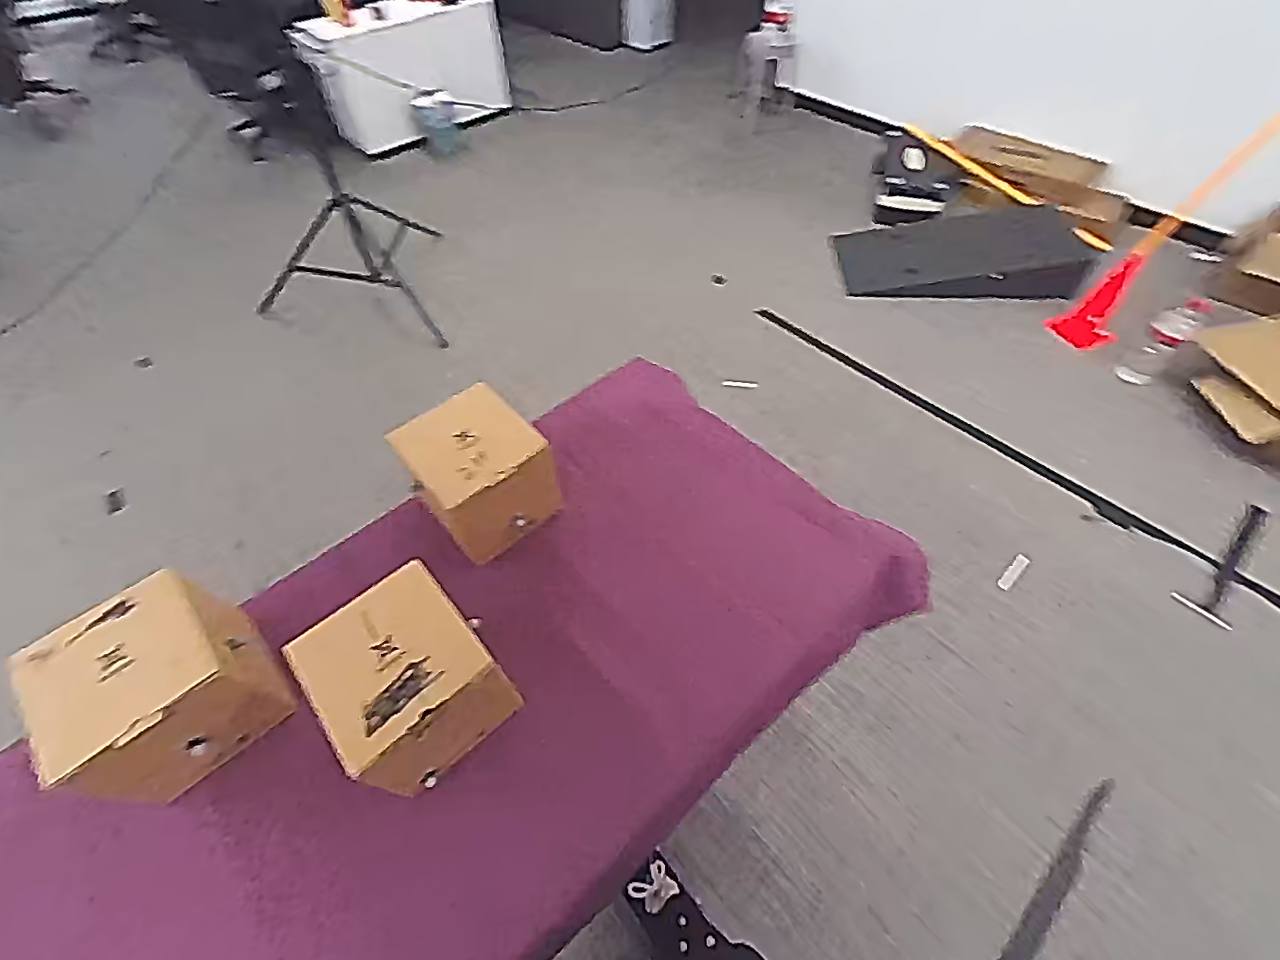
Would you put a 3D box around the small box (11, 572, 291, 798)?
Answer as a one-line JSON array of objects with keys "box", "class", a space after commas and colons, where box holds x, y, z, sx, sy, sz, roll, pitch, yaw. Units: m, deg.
[{"box": [-0.566, 0.251, 0.650, 0.168, 0.176, 0.179, -38, 63, -24], "class": "small box"}]

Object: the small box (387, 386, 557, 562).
[{"box": [-0.249, -0.006, 0.835, 0.168, 0.176, 0.179, -38, 62, -23], "class": "small box"}]

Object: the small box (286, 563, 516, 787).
[{"box": [-0.273, 0.240, 0.654, 0.168, 0.176, 0.179, -37, 60, -23], "class": "small box"}]
